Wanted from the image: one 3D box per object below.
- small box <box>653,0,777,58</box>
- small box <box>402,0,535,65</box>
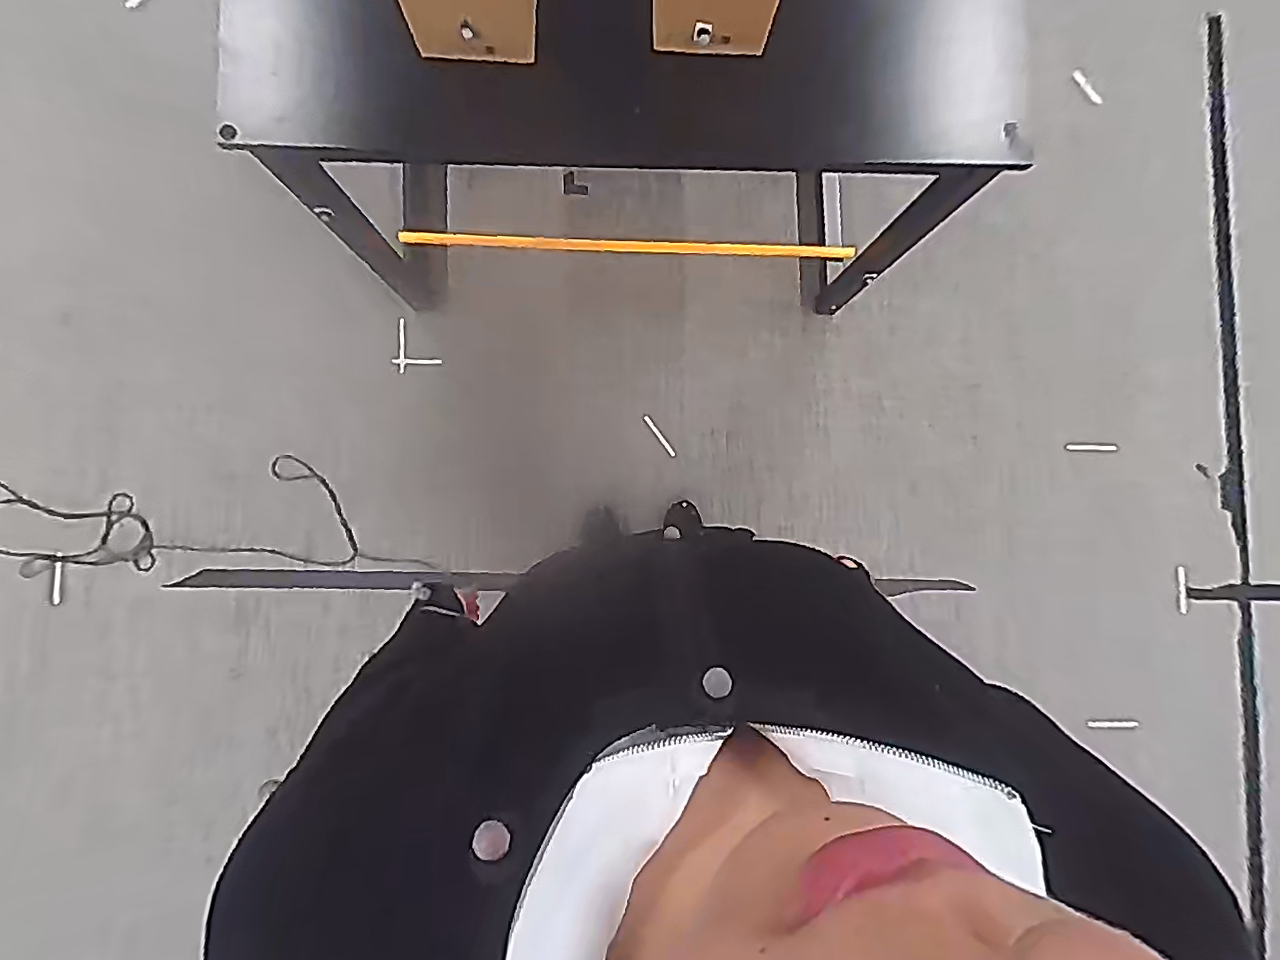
[{"bbox_3d":[0.103,-0.728,0.736,0.168,0.176,0.179,-1,89,-2],"label":"small box"},{"bbox_3d":[-0.233,-0.704,0.714,0.168,0.176,0.179,1,88,-3],"label":"small box"}]
